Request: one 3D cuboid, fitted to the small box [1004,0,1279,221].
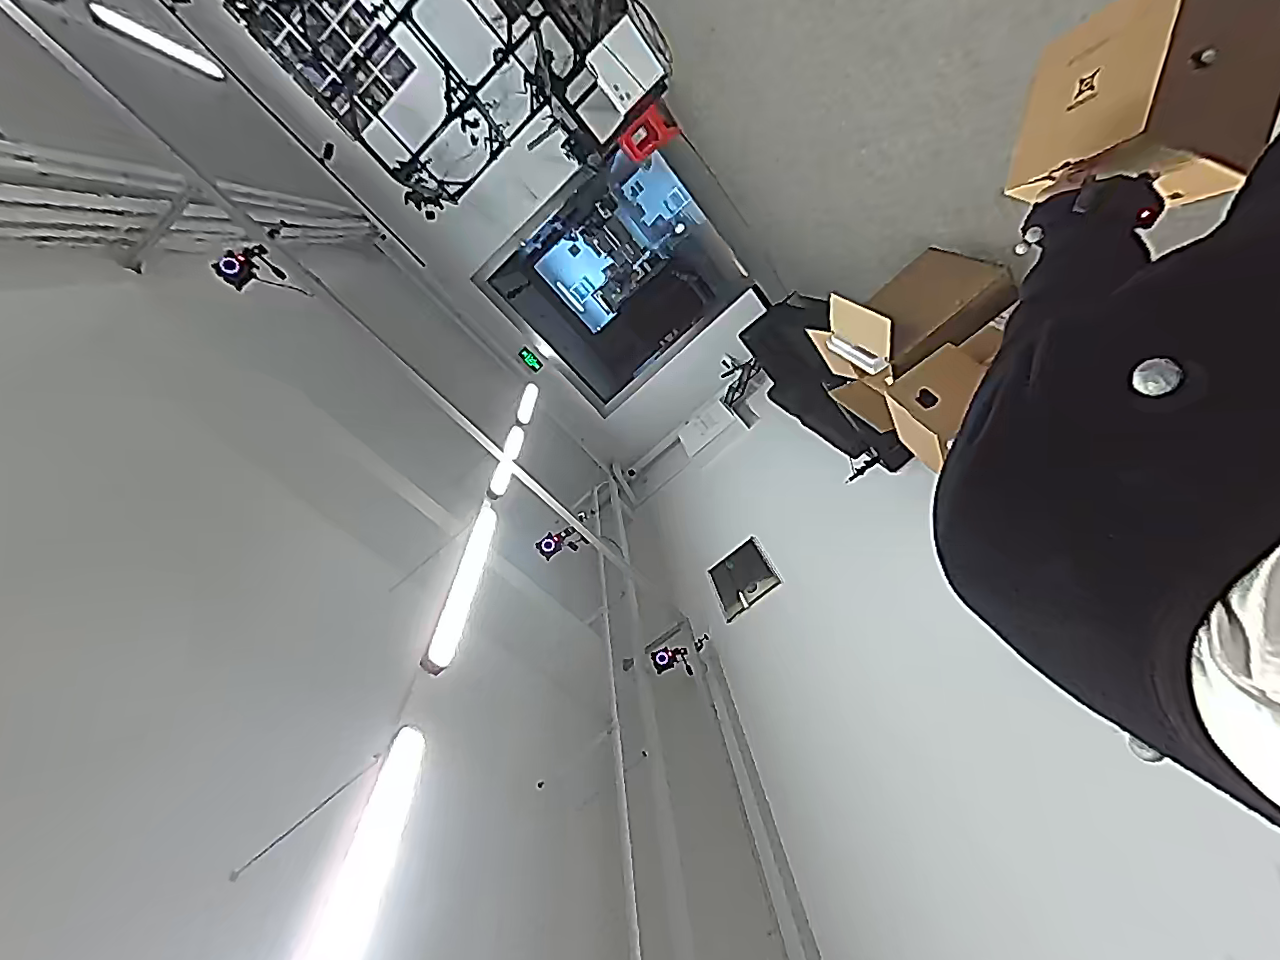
[{"bbox_3d":[0.578,-0.421,0.627,0.176,0.179,0.168,10,-173,-14],"label":"small box"}]
